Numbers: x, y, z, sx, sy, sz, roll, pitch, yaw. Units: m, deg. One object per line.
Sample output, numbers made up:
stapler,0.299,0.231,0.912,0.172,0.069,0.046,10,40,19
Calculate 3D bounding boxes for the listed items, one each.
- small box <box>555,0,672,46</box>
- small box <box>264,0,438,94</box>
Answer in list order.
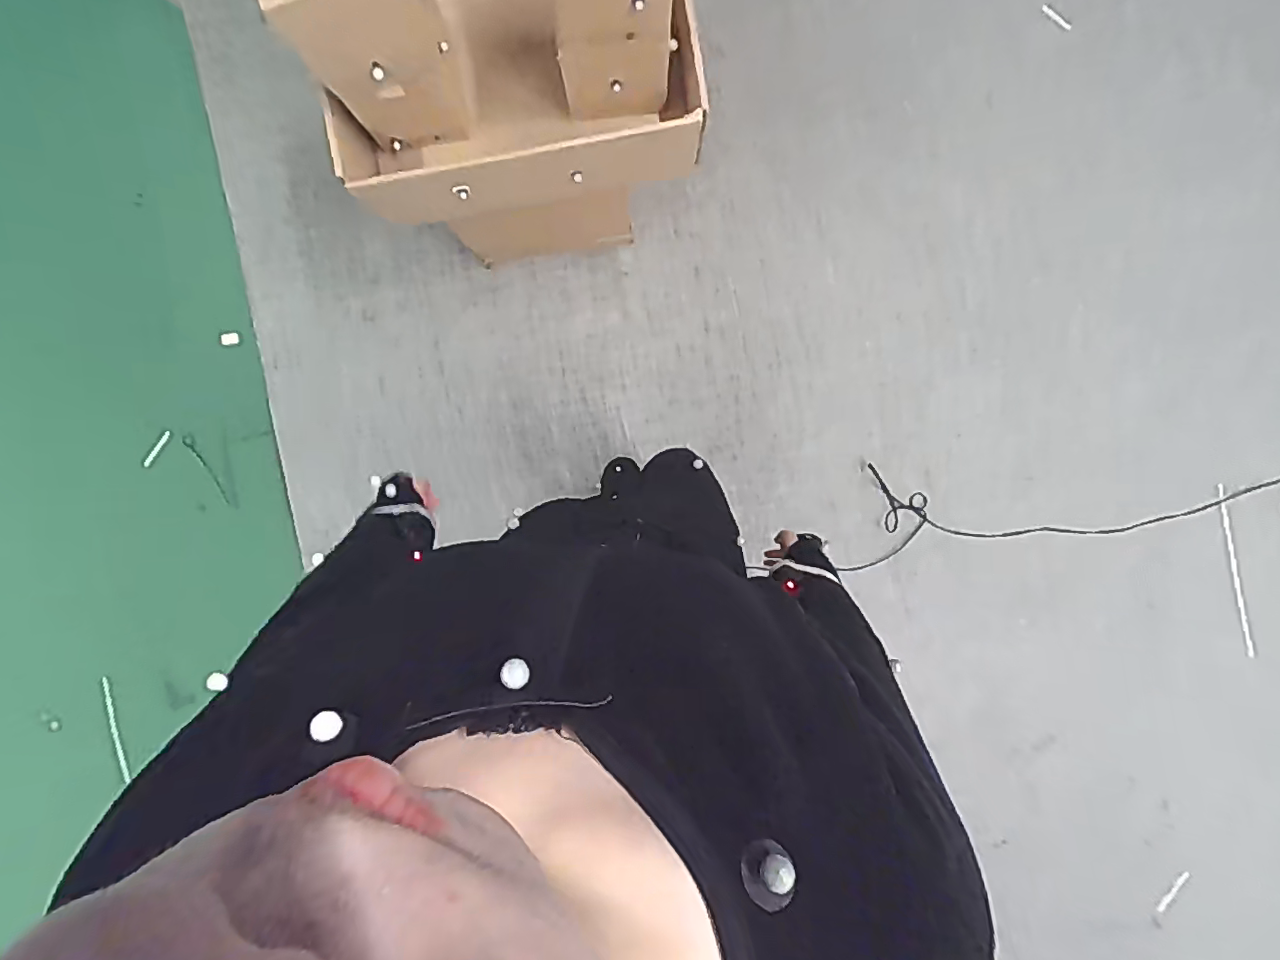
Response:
small box,-0.040,-0.743,0.747,0.168,0.176,0.179,-4,91,0
small box,-0.402,-0.690,0.759,0.179,0.176,0.168,-11,92,1
